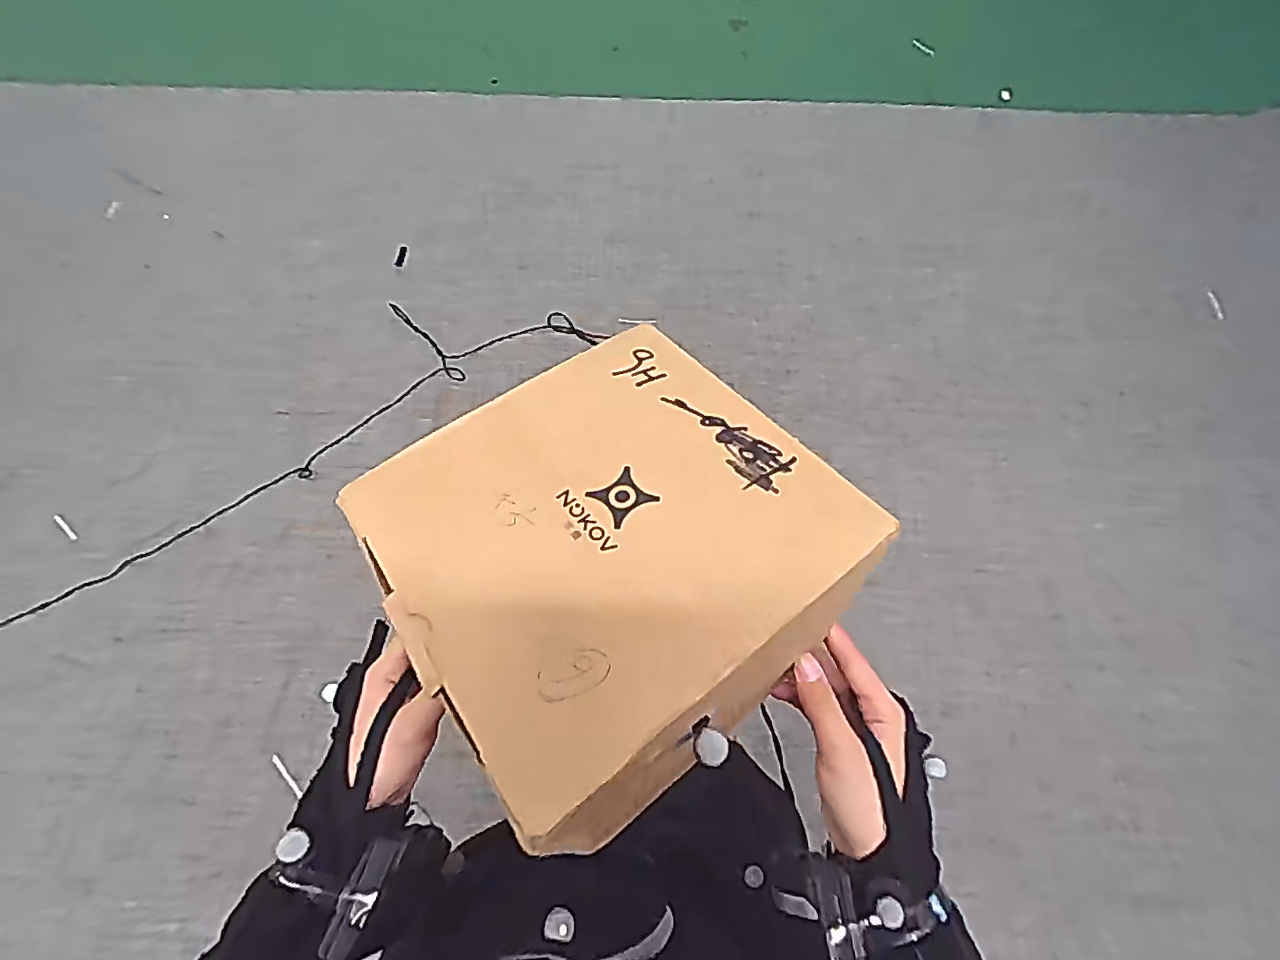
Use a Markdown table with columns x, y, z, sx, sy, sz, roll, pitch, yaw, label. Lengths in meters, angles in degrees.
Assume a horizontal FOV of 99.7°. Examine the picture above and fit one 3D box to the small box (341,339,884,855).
| x | y | z | sx | sy | sz | roll | pitch | yaw | label |
| --- | --- | --- | --- | --- | --- | --- | --- | --- | --- |
| -0.012 | 0.065 | 0.290 | 0.179 | 0.176 | 0.168 | -33 | 59 | -18 | small box |
